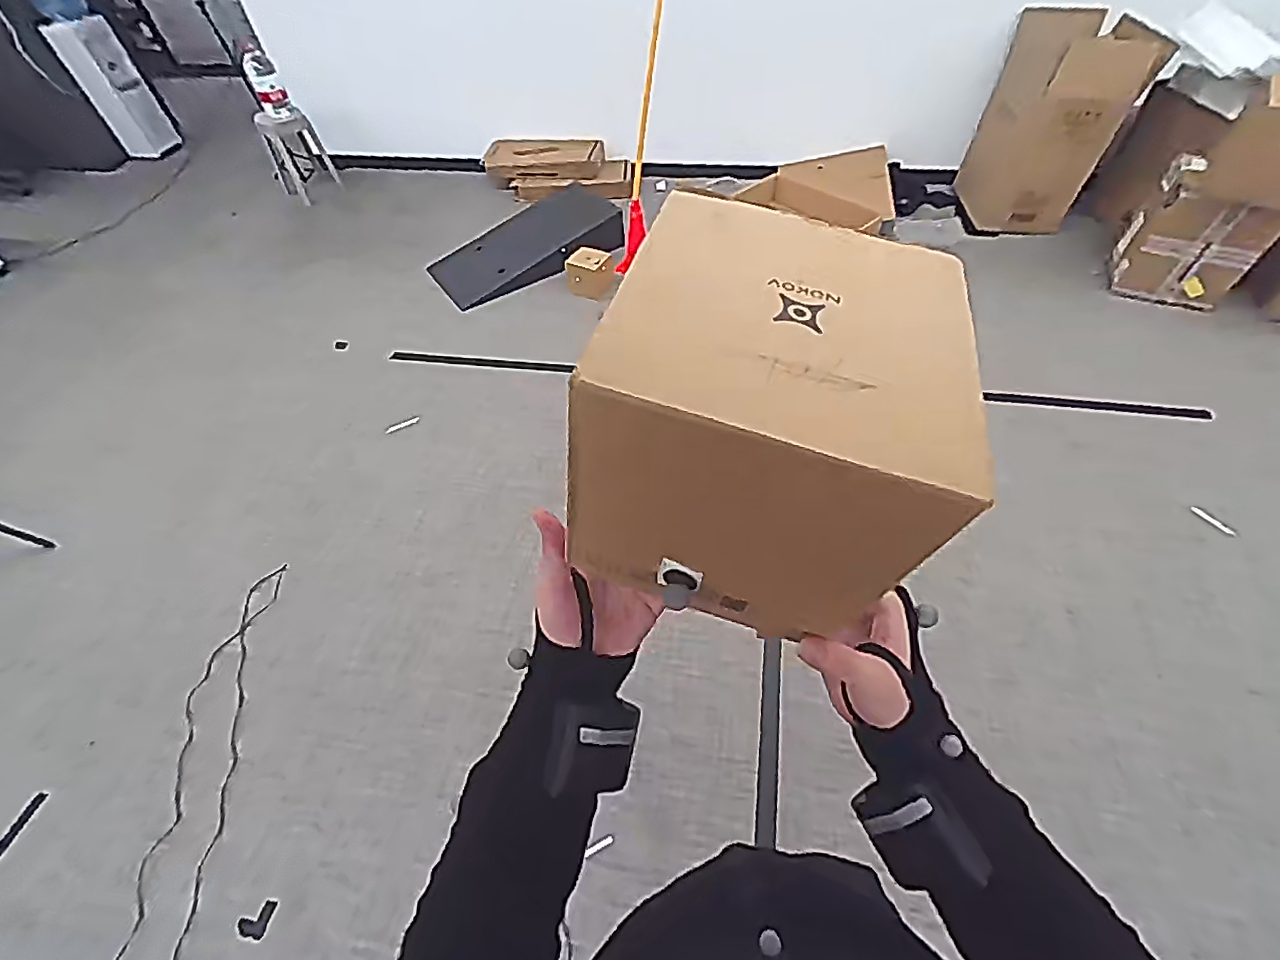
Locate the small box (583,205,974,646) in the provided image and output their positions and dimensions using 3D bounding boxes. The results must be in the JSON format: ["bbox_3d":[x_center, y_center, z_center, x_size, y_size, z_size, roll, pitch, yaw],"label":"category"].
[{"bbox_3d":[0.066,-0.027,0.329,0.168,0.176,0.179,16,55,4],"label":"small box"}]
